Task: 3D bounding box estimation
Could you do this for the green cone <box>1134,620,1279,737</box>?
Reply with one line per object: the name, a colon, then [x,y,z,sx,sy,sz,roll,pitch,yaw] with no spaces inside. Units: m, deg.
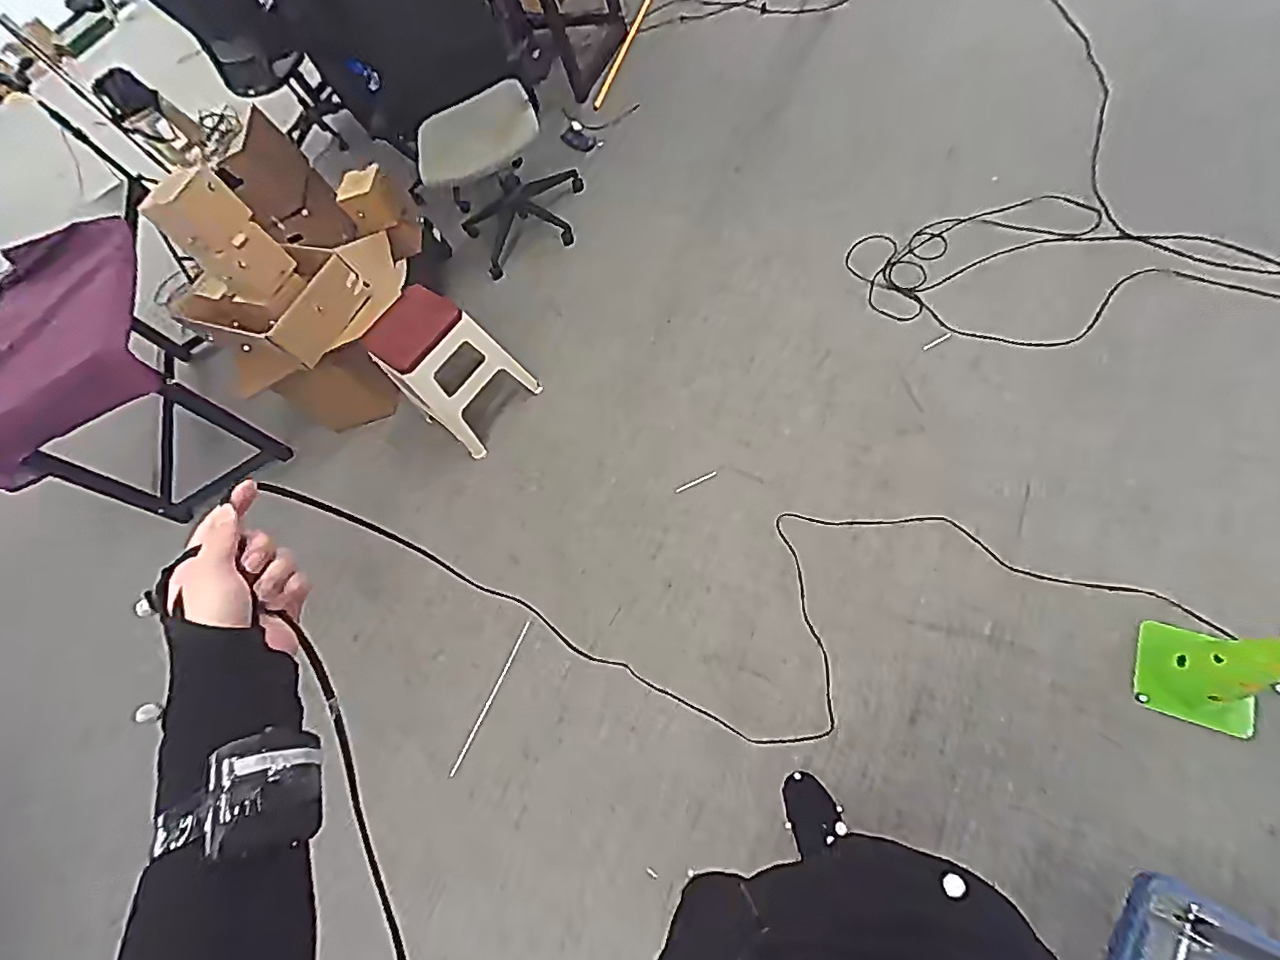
green cone: [1.160,0.350,1.032,0.200,0.368,0.202,15,69,24]
